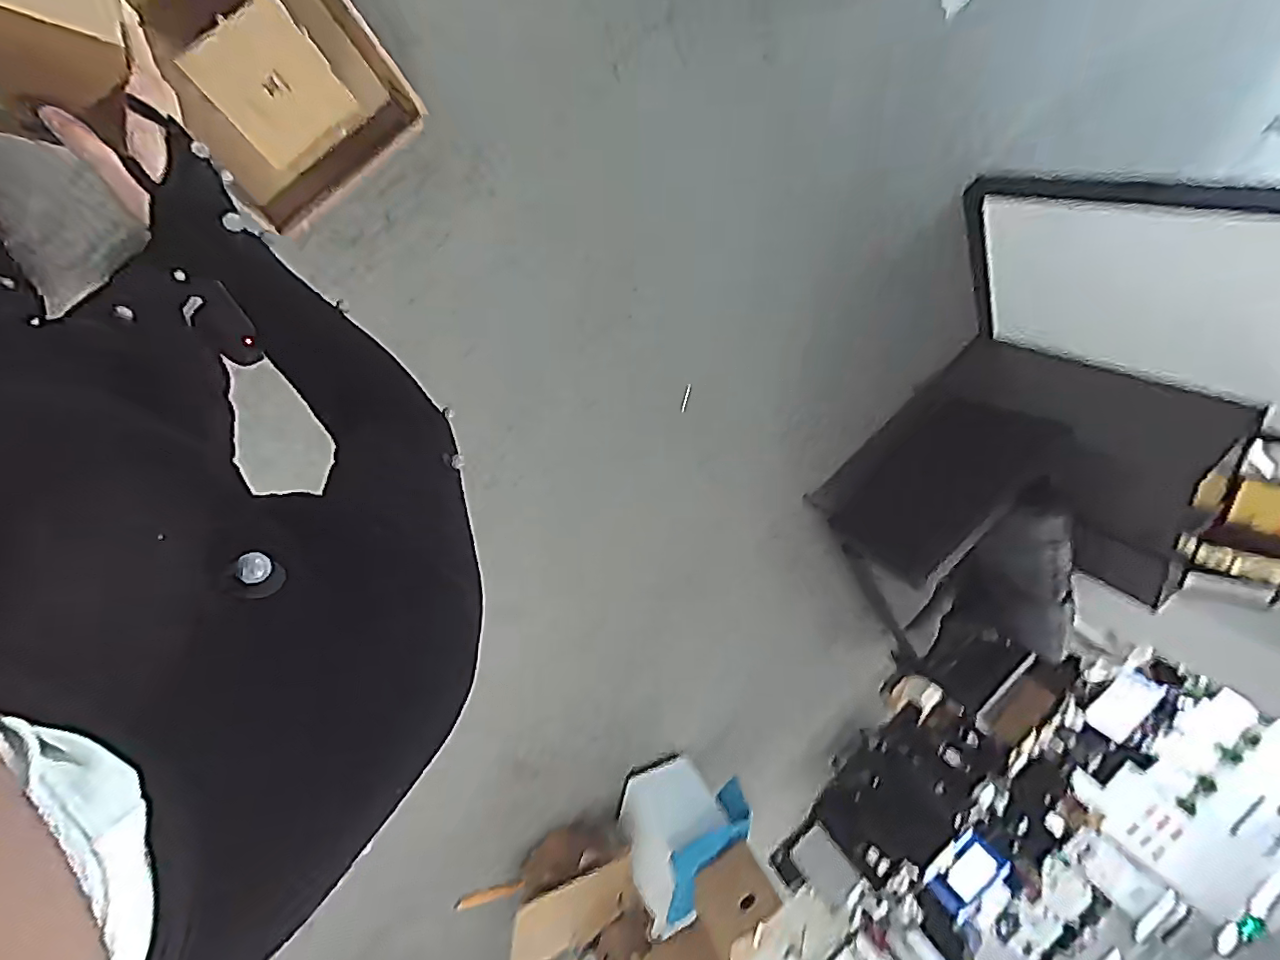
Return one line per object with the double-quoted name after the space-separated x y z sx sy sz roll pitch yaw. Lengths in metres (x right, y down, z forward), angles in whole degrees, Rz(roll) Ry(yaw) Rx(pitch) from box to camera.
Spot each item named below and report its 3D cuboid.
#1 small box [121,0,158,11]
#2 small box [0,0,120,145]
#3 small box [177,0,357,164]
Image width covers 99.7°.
-0.813 -0.875 0.836 0.179 0.176 0.168 -44 135 -3 "small box"
-0.512 -0.398 0.401 0.168 0.176 0.179 -10 92 -43 "small box"
-0.609 -0.656 0.895 0.179 0.176 0.168 -42 131 -5 "small box"
